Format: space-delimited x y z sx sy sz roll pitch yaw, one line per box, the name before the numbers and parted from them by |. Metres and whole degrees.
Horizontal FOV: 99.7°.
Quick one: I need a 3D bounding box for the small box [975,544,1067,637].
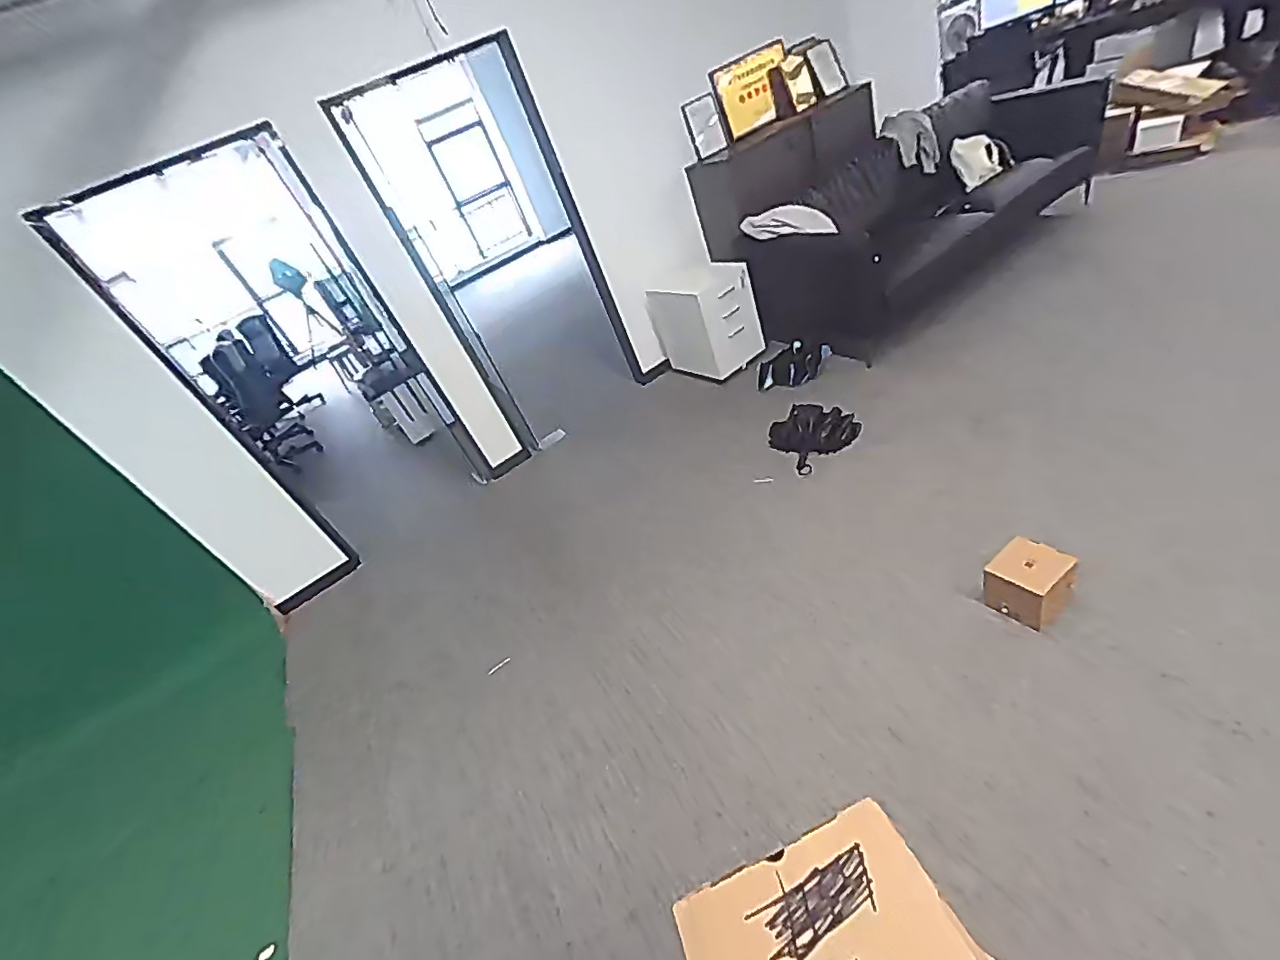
small box | 1.135 0.330 1.620 0.179 0.176 0.168 -36 34 -16
